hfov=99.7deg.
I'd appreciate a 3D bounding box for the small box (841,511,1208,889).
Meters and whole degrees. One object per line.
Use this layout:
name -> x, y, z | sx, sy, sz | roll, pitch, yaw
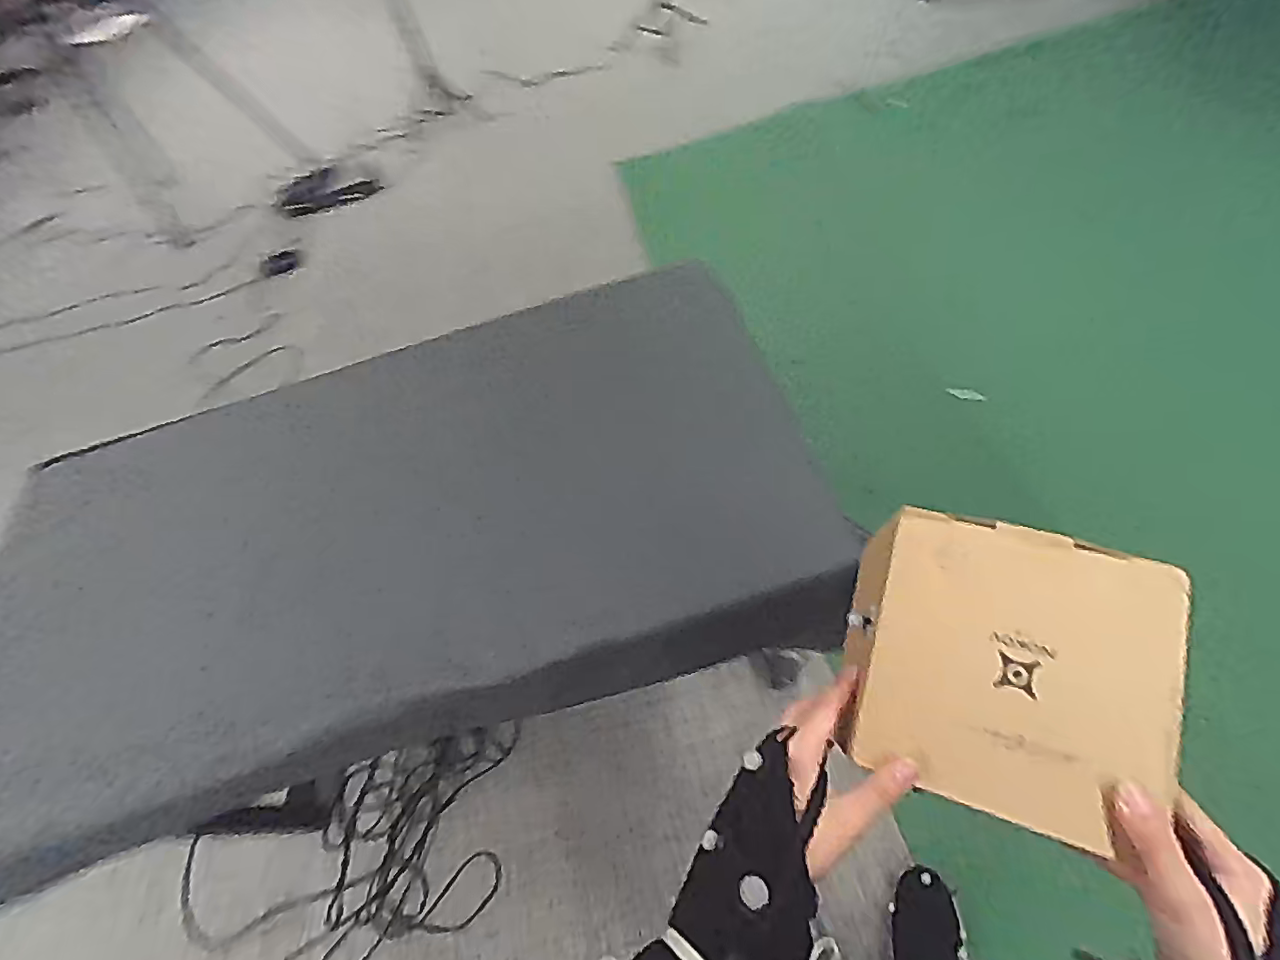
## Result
small box -> 0.258, 0.144, 0.405 | 0.168, 0.176, 0.179 | 14, 77, 18
